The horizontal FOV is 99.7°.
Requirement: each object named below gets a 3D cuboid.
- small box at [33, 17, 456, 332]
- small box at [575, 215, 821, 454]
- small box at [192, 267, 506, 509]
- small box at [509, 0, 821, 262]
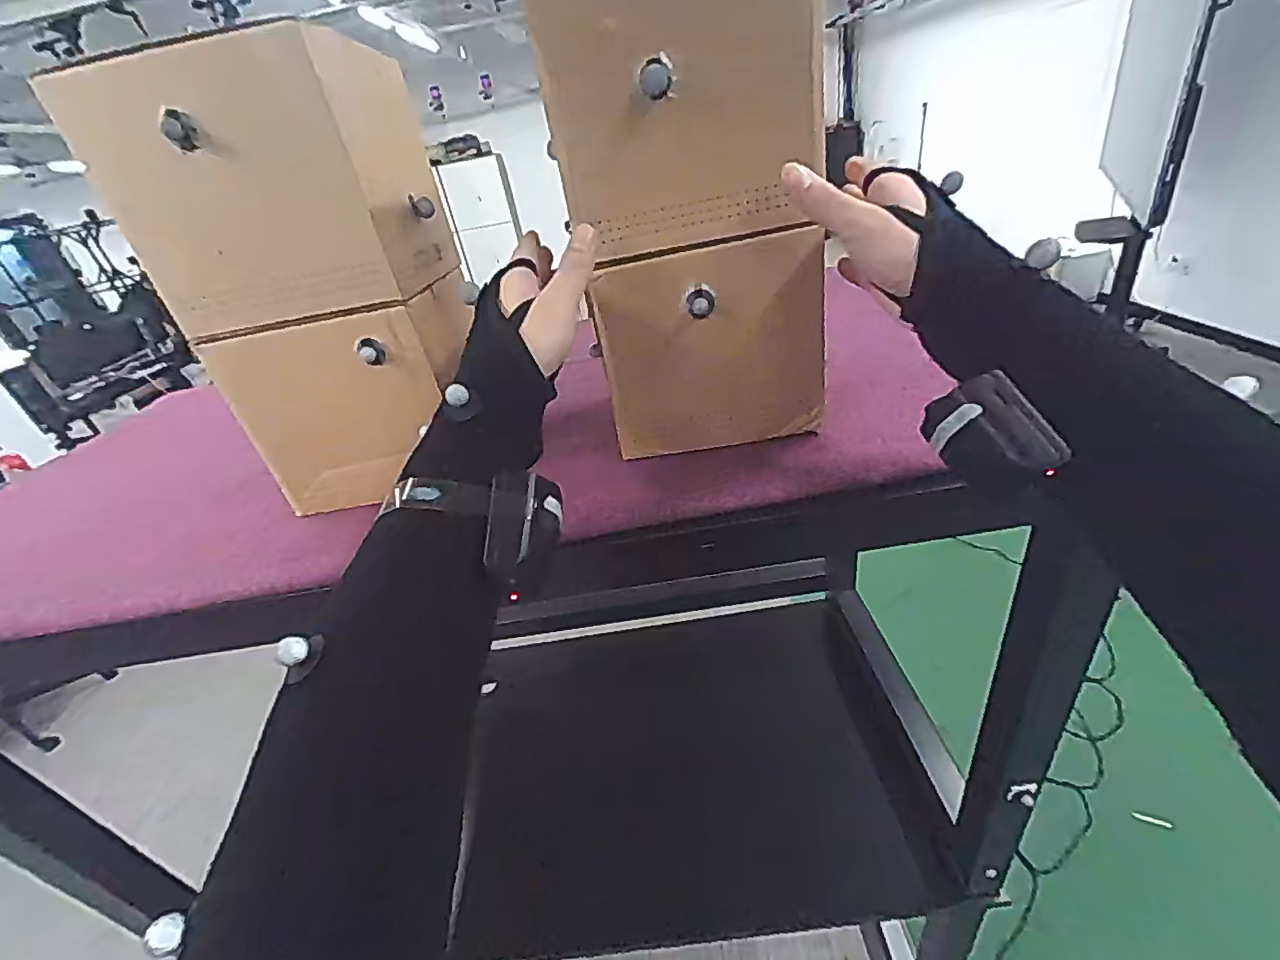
[{"bbox_3d":[-0.276,-0.228,0.431,0.179,0.176,0.168,-9,32,4],"label":"small box"},{"bbox_3d":[0.056,-0.137,0.488,0.179,0.176,0.168,-8,32,7],"label":"small box"},{"bbox_3d":[-0.248,-0.088,0.515,0.179,0.176,0.168,-10,31,3],"label":"small box"},{"bbox_3d":[0.026,-0.273,0.403,0.179,0.176,0.168,-9,32,7],"label":"small box"}]
